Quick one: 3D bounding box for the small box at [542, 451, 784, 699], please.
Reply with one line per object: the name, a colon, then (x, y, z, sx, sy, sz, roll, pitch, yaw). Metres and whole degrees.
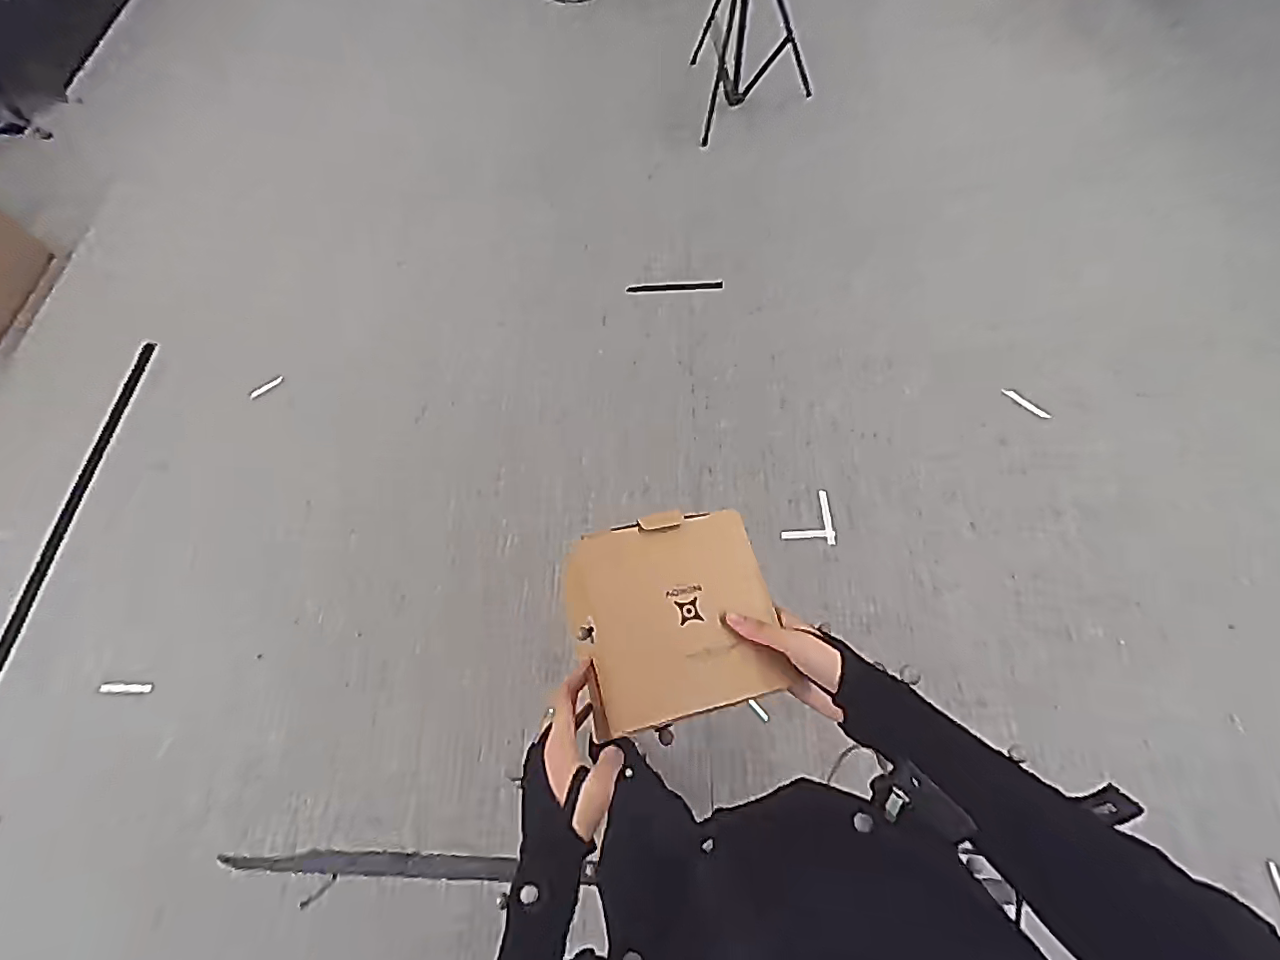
small box: (0.004, 0.094, 0.519, 0.168, 0.176, 0.179, -8, 65, -18)
